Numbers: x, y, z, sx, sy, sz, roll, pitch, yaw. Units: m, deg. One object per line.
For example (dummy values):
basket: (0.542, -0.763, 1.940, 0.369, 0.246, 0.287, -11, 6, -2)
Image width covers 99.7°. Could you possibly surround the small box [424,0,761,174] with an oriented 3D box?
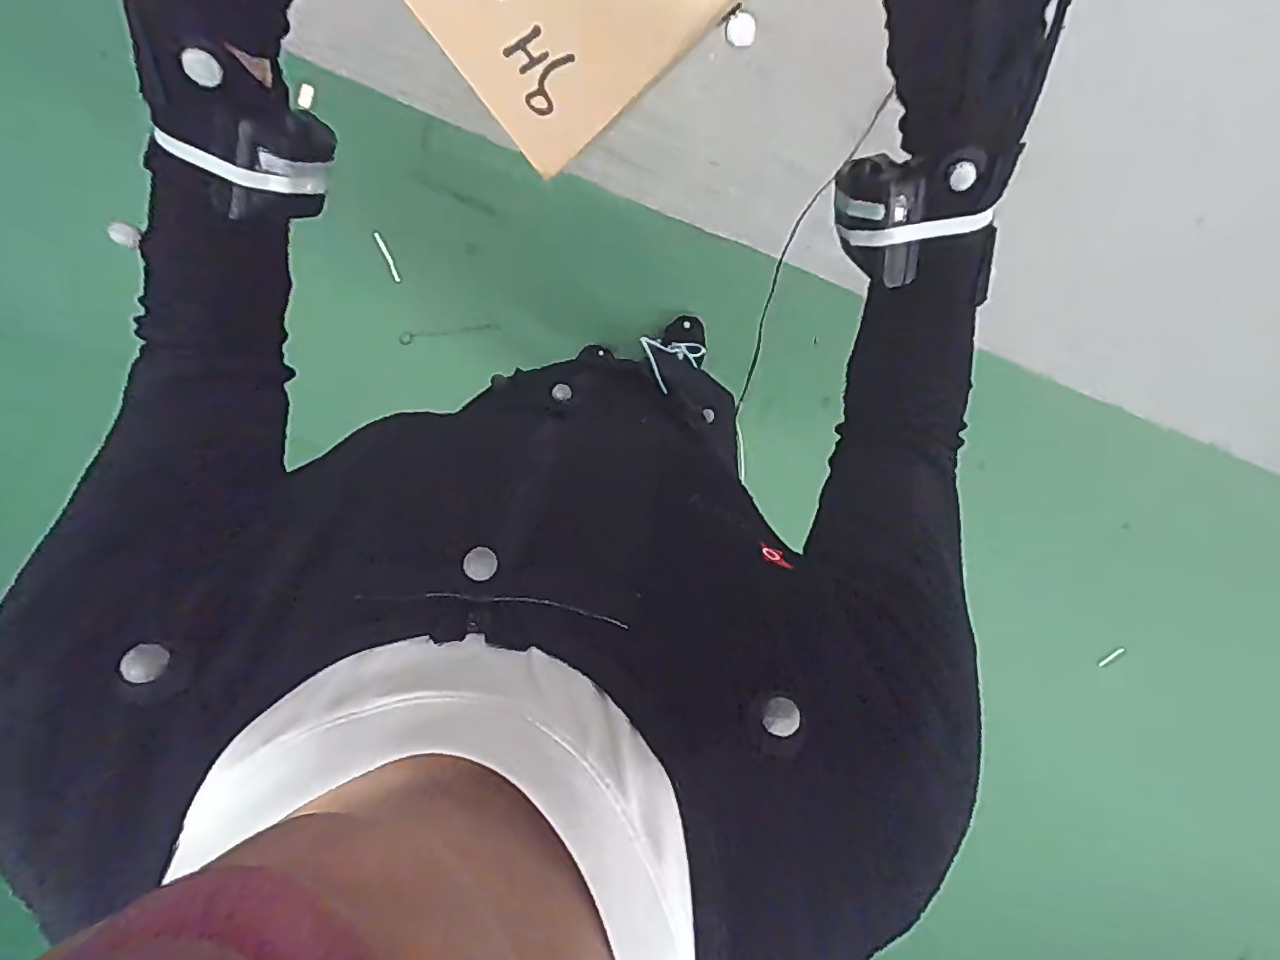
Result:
small box: (-0.007, -0.270, 0.218, 0.179, 0.176, 0.168, -27, 120, 29)
